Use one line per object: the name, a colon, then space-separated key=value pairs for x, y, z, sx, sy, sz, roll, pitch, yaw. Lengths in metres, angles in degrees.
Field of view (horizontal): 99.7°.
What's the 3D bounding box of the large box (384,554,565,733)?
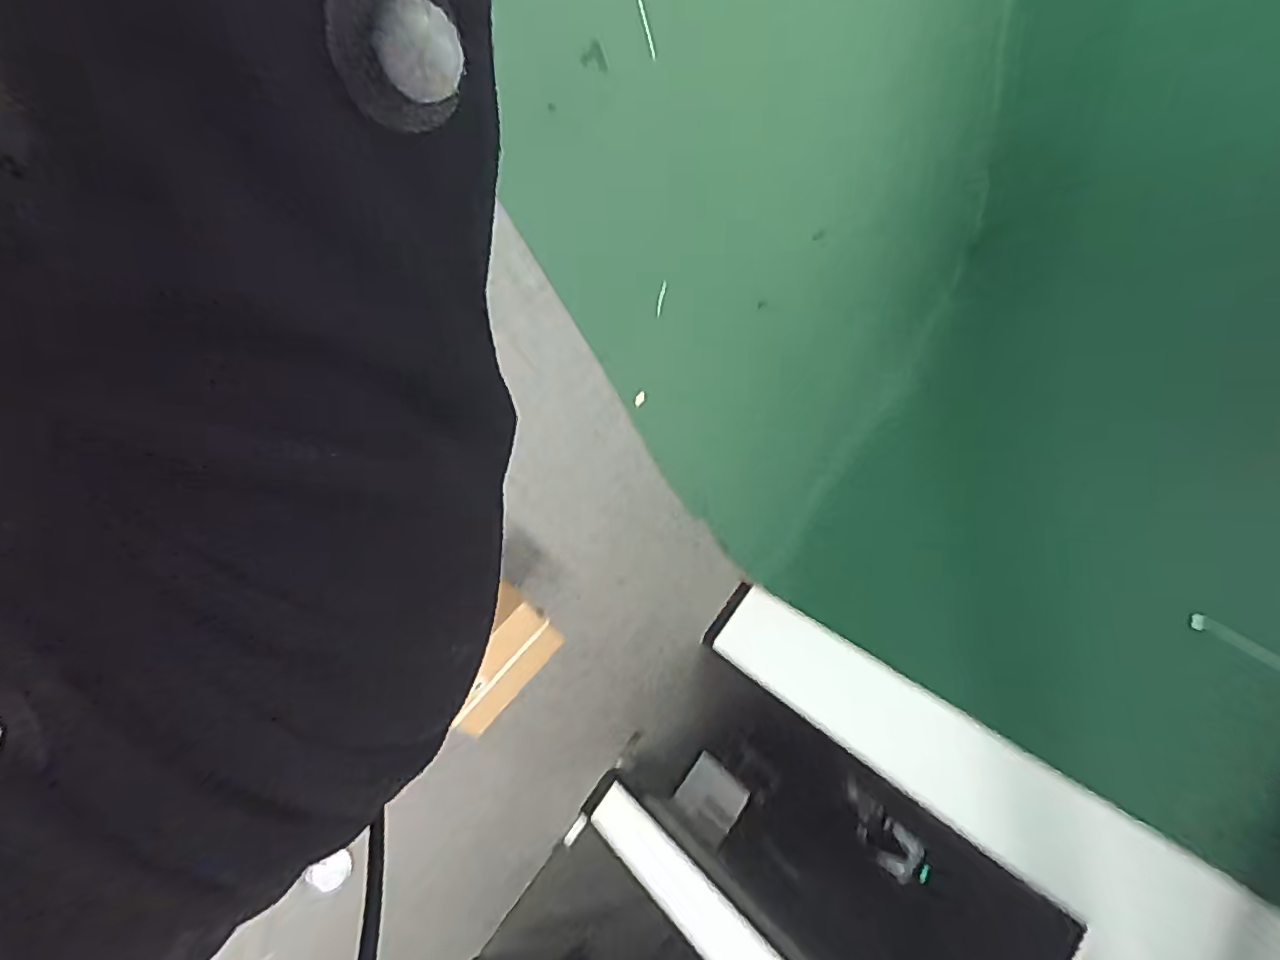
large box: x=-0.528 y=0.524 z=1.760 sx=0.408 sy=0.320 sz=0.320 roll=-46 pitch=141 yaw=-17
